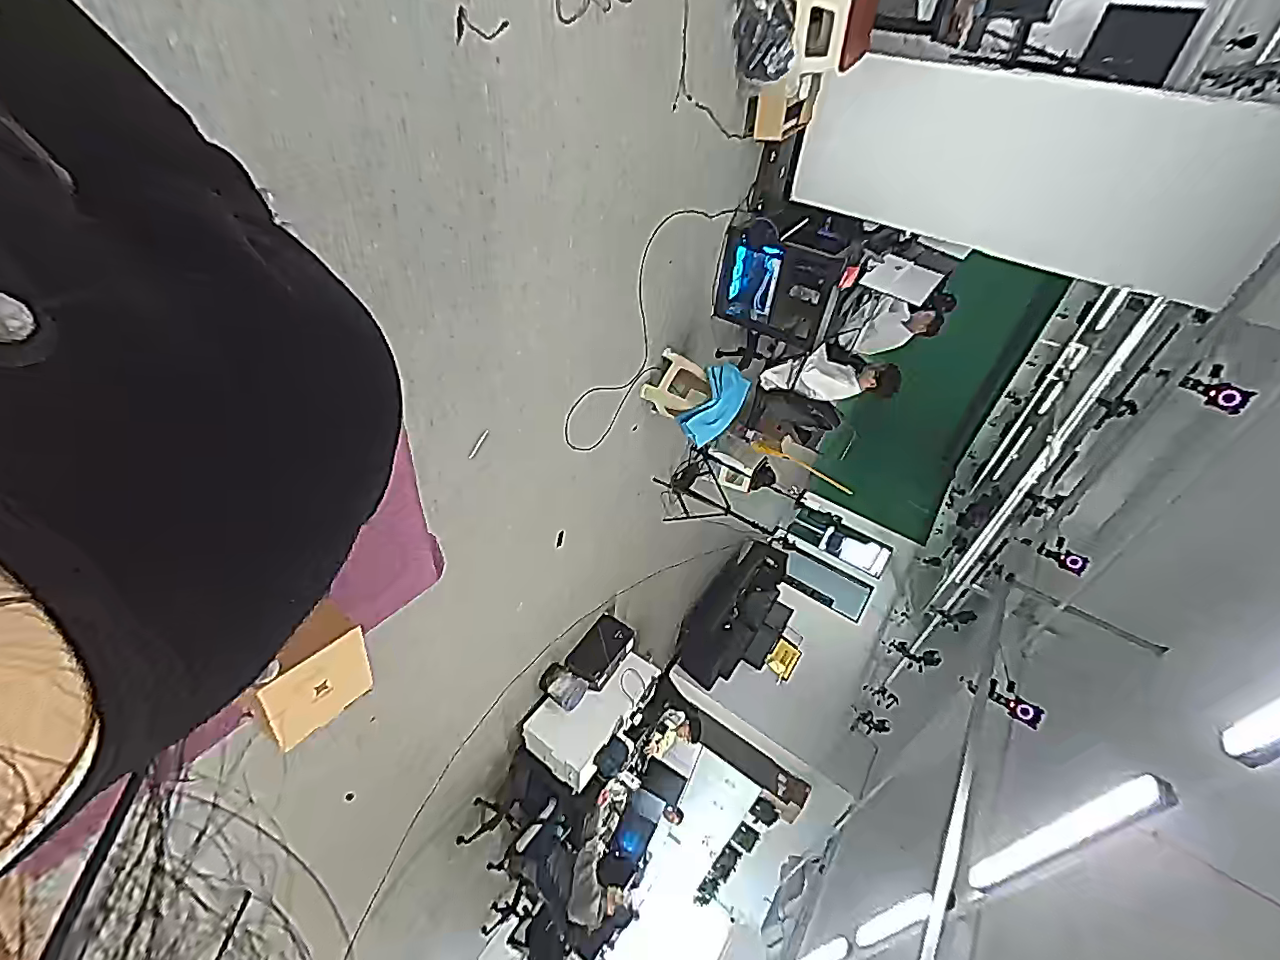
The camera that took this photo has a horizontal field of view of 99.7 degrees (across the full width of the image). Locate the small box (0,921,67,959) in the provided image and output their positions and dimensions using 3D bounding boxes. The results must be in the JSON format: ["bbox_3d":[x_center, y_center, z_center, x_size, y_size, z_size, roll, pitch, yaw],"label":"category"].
[{"bbox_3d":[-0.717,0.628,0.572,0.179,0.176,0.168,-38,146,-46],"label":"small box"}]

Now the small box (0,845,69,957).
[{"bbox_3d":[-0.852,0.558,0.634,0.179,0.176,0.168,-39,147,-44],"label":"small box"}]

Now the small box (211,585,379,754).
[{"bbox_3d":[-0.584,0.316,0.927,0.168,0.176,0.179,-38,145,-46],"label":"small box"}]
